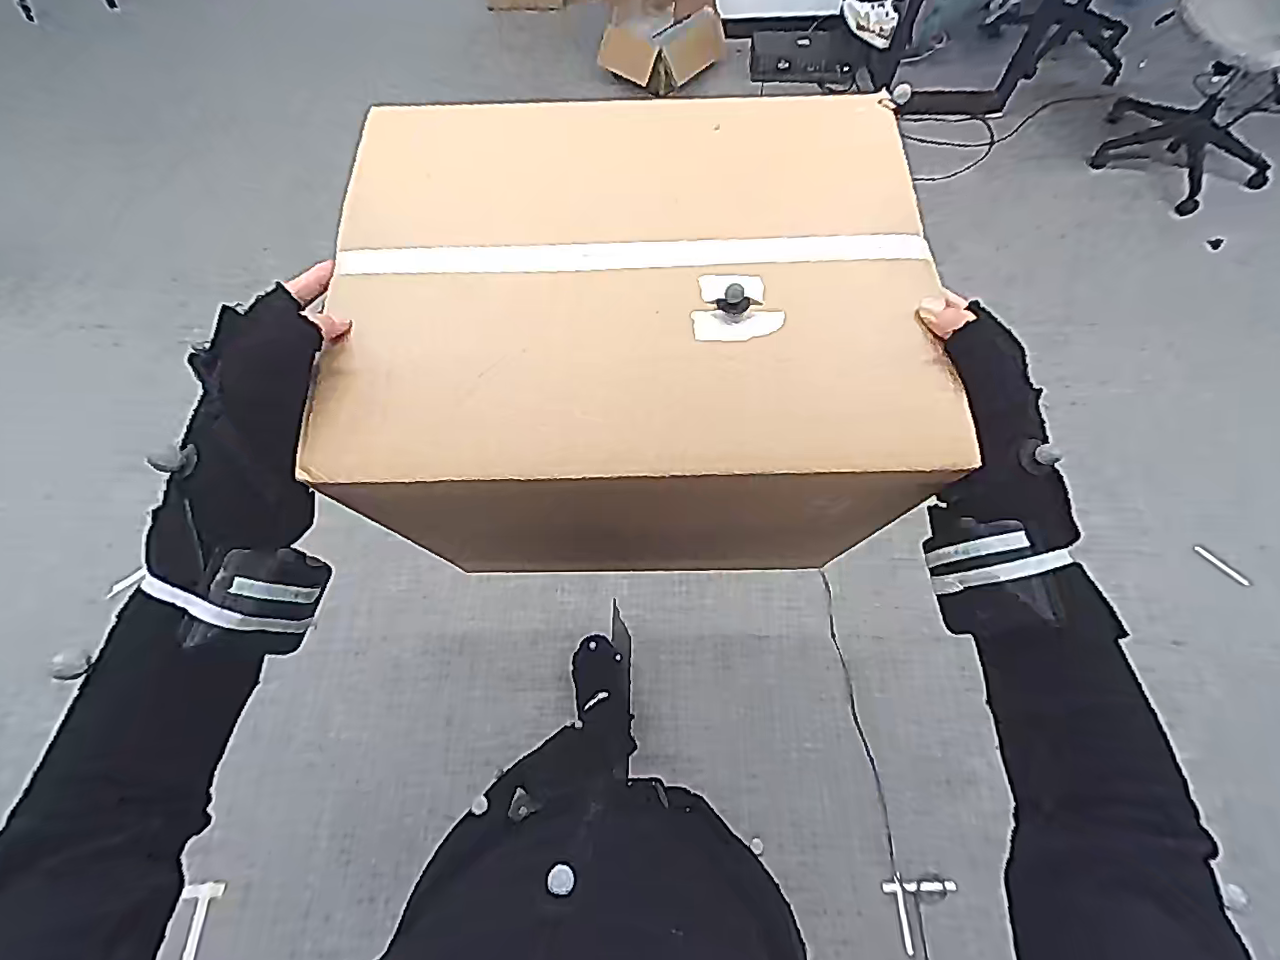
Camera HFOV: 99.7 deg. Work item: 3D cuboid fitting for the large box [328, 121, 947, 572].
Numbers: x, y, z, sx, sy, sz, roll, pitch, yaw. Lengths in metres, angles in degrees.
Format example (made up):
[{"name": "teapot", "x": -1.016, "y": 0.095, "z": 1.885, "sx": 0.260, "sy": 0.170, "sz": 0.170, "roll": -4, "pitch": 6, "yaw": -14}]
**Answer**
[{"name": "large box", "x": -0.005, "y": -0.097, "z": 0.533, "sx": 0.408, "sy": 0.320, "sz": 0.320, "roll": -1, "pitch": 70, "yaw": 0}]
